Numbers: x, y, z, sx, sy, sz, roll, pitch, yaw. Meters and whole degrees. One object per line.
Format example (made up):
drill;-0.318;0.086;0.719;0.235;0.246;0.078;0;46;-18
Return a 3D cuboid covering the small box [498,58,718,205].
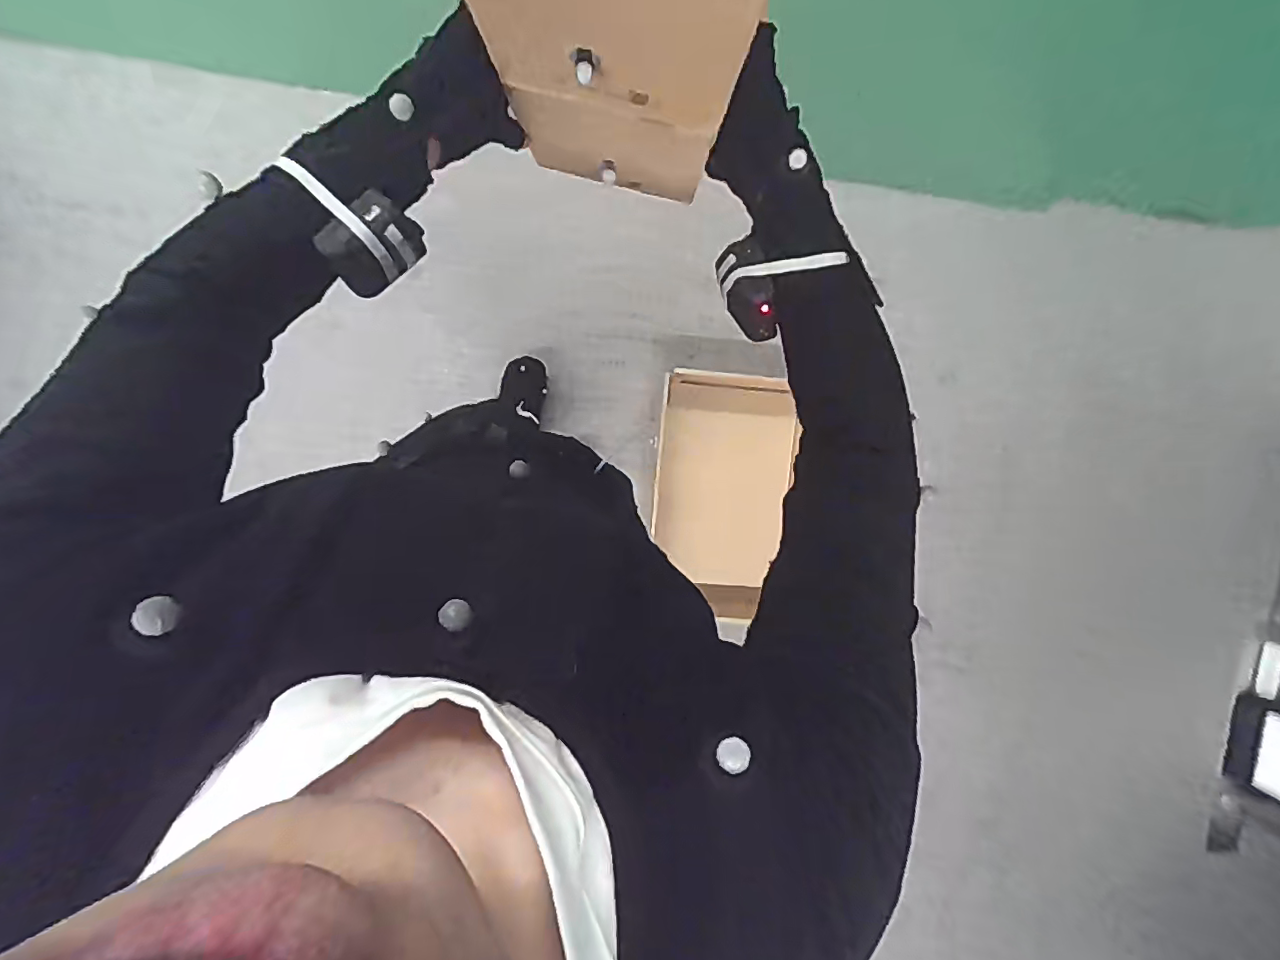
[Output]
small box;-0.008;-0.366;0.460;0.168;0.176;0.179;12;101;-3

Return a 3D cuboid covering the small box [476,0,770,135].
small box;-0.004;-0.335;0.300;0.168;0.176;0.179;11;101;-4
